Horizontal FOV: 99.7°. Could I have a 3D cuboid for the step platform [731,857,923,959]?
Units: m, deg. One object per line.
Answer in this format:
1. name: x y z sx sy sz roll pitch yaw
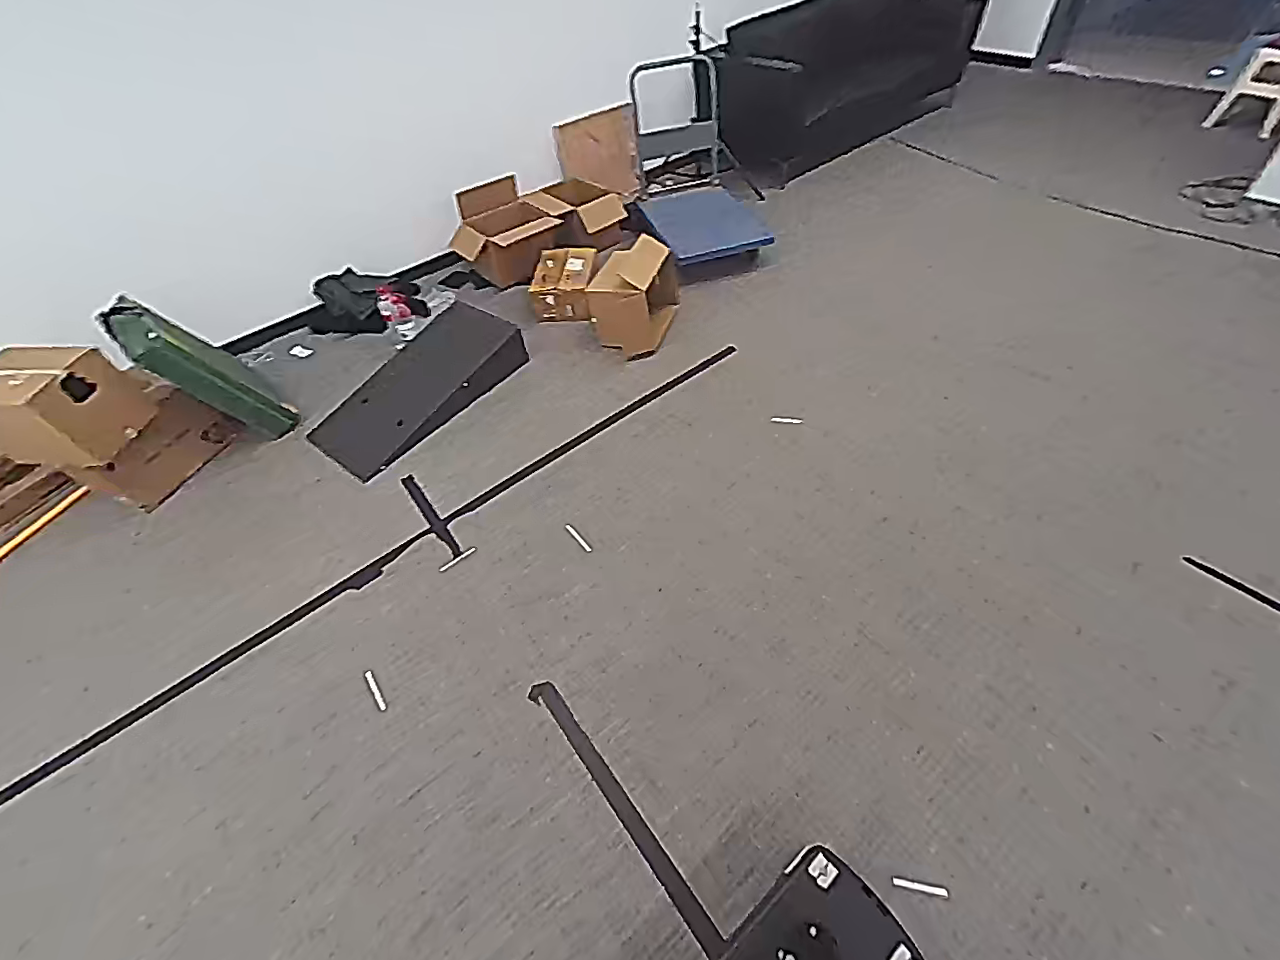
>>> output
1. step platform: 0.248 1.098 1.041 0.684 0.204 0.286 -34 54 -22
